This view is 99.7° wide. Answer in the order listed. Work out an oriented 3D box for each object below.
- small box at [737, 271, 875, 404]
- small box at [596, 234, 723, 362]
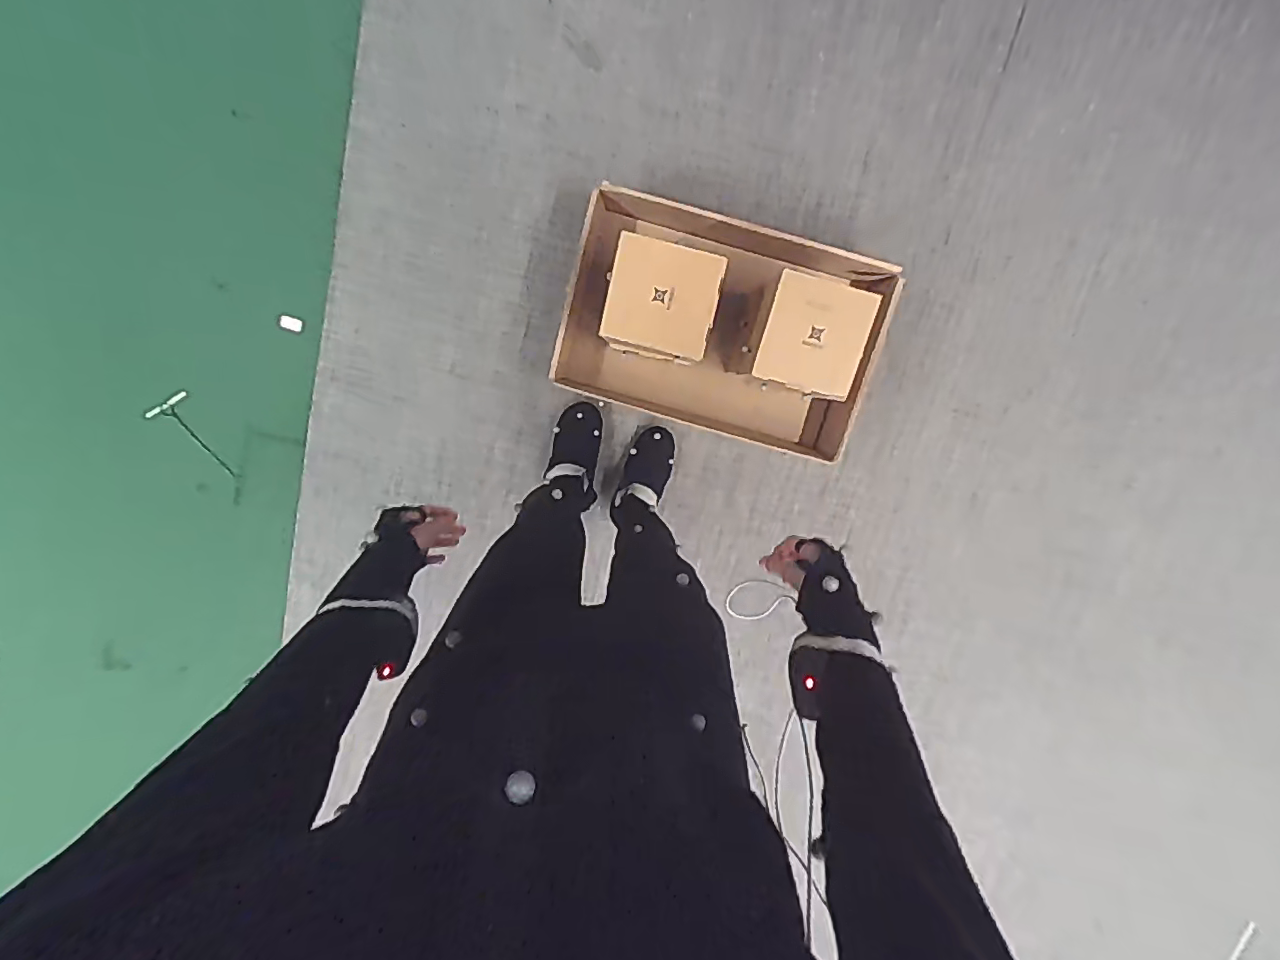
[{"bbox_3d":[0.279,-0.245,0.957,0.168,0.176,0.179,16,101,-2],"label":"small box"},{"bbox_3d":[0.032,-0.308,0.952,0.179,0.176,0.168,14,101,-2],"label":"small box"}]
